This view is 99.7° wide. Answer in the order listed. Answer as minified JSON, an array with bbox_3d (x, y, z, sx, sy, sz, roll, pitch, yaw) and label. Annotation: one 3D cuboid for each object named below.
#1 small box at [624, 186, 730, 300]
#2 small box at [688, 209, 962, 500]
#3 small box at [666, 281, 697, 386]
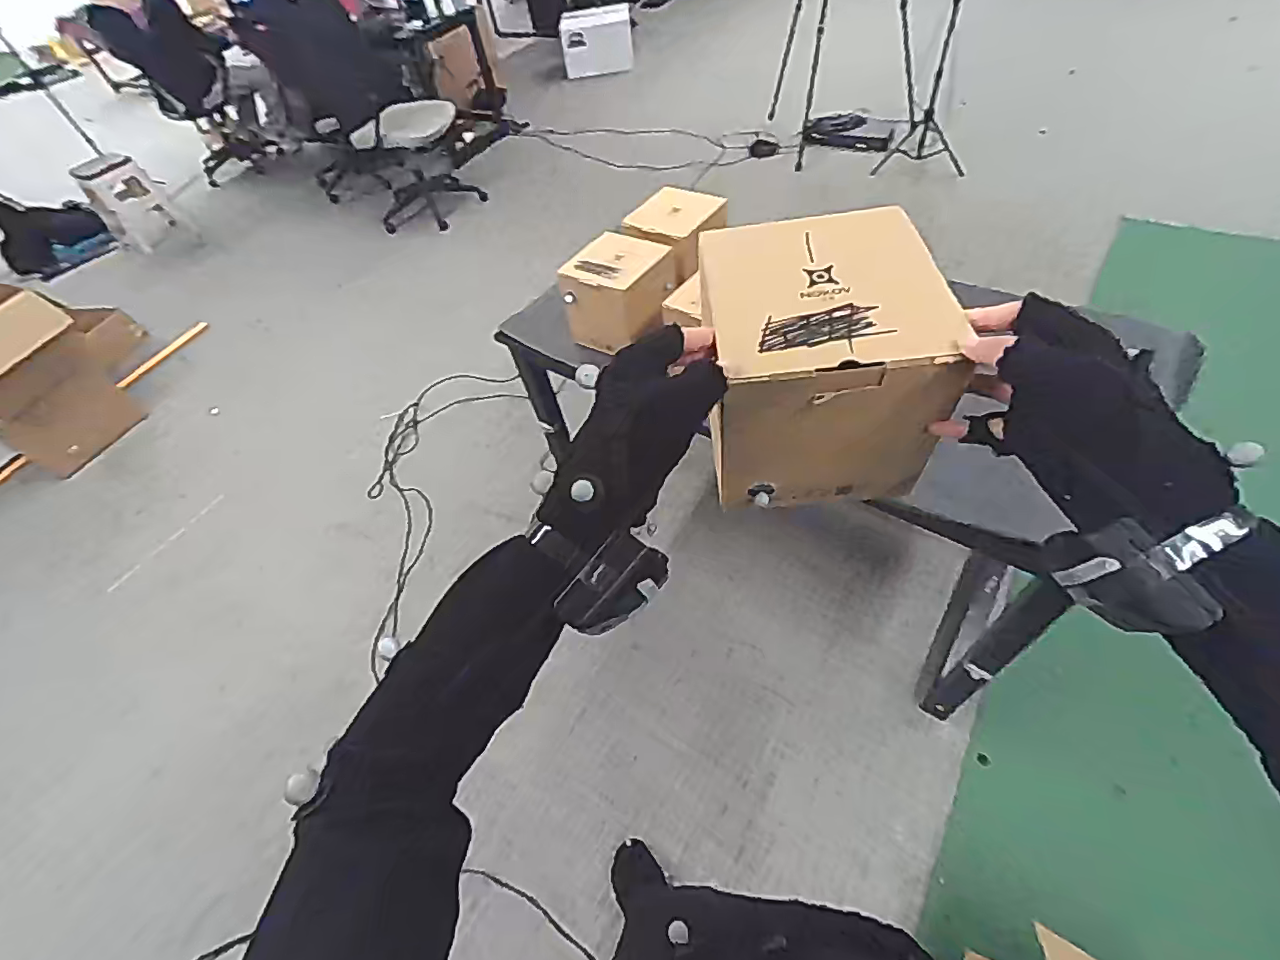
[{"bbox_3d":[0.086,-0.527,1.219,0.168,0.176,0.179,27,62,26],"label":"small box"},{"bbox_3d":[0.133,-0.095,0.461,0.168,0.176,0.179,-6,55,4],"label":"small box"},{"bbox_3d":[0.166,-0.280,1.012,0.168,0.176,0.179,29,61,27],"label":"small box"}]
